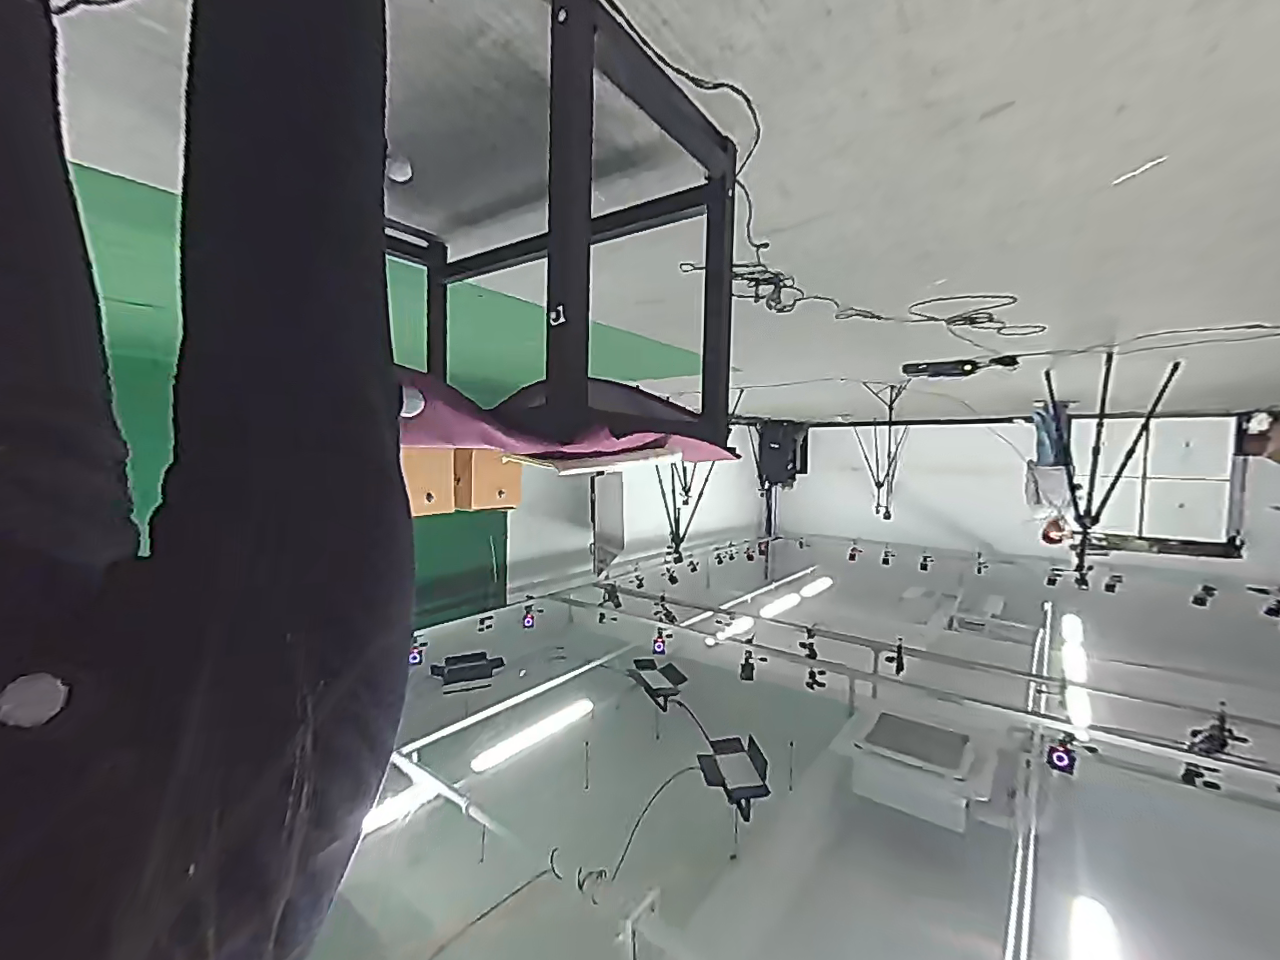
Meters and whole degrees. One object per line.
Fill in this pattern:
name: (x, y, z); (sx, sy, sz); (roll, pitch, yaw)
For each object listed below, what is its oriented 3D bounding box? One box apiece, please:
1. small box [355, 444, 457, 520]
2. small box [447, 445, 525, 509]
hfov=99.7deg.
small box: (-0.574, -0.001, 1.333); (0.168, 0.176, 0.179); (2, -177, 31)
small box: (-0.445, -0.011, 1.521); (0.168, 0.176, 0.179); (2, -176, 36)
